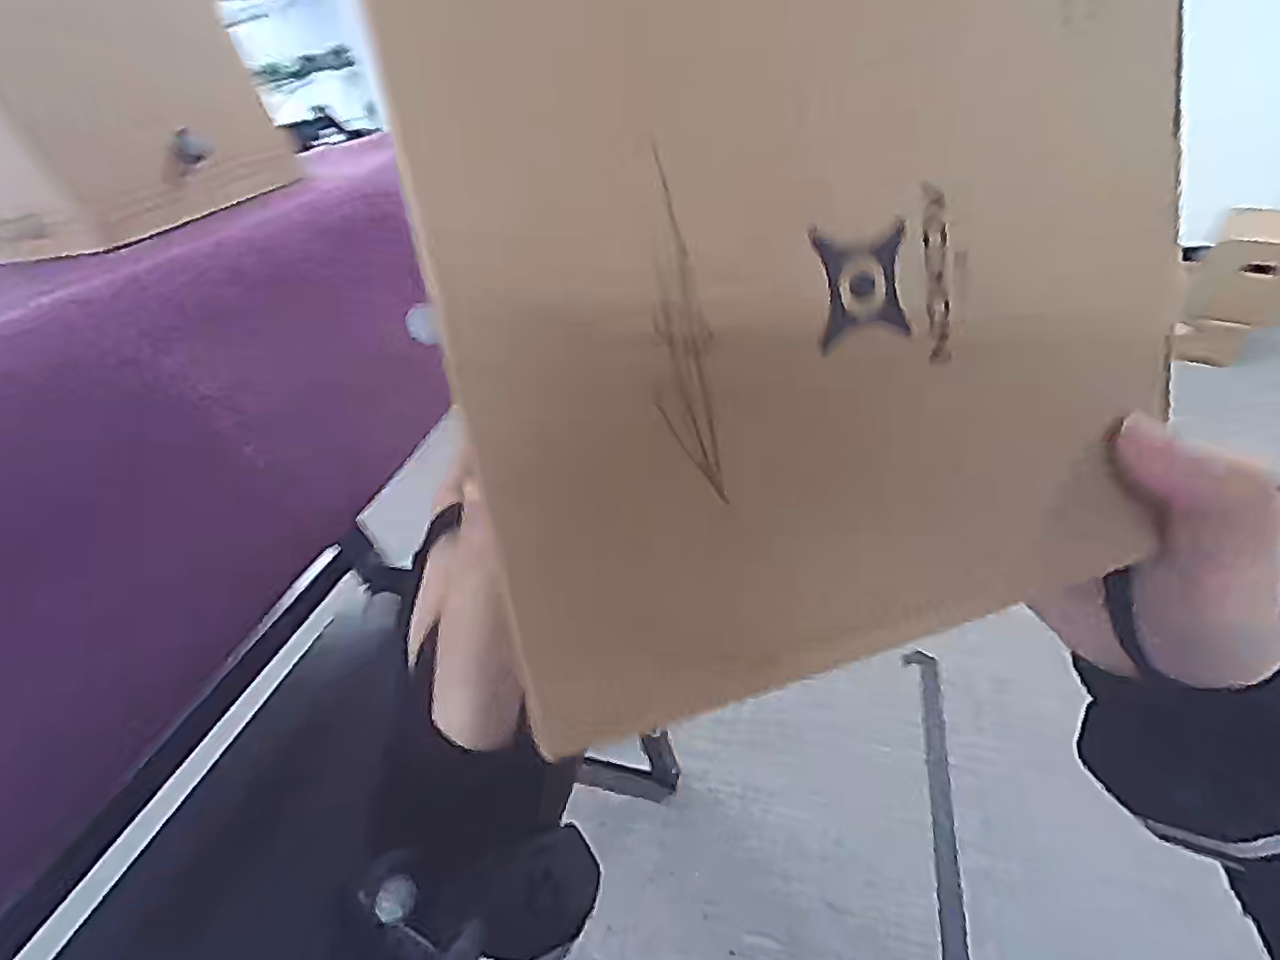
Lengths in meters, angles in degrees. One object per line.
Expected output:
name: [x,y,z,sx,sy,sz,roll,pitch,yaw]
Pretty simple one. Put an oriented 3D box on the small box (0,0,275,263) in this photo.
small box: [-0.402,-0.265,0.376,0.168,0.176,0.179,3,42,21]
